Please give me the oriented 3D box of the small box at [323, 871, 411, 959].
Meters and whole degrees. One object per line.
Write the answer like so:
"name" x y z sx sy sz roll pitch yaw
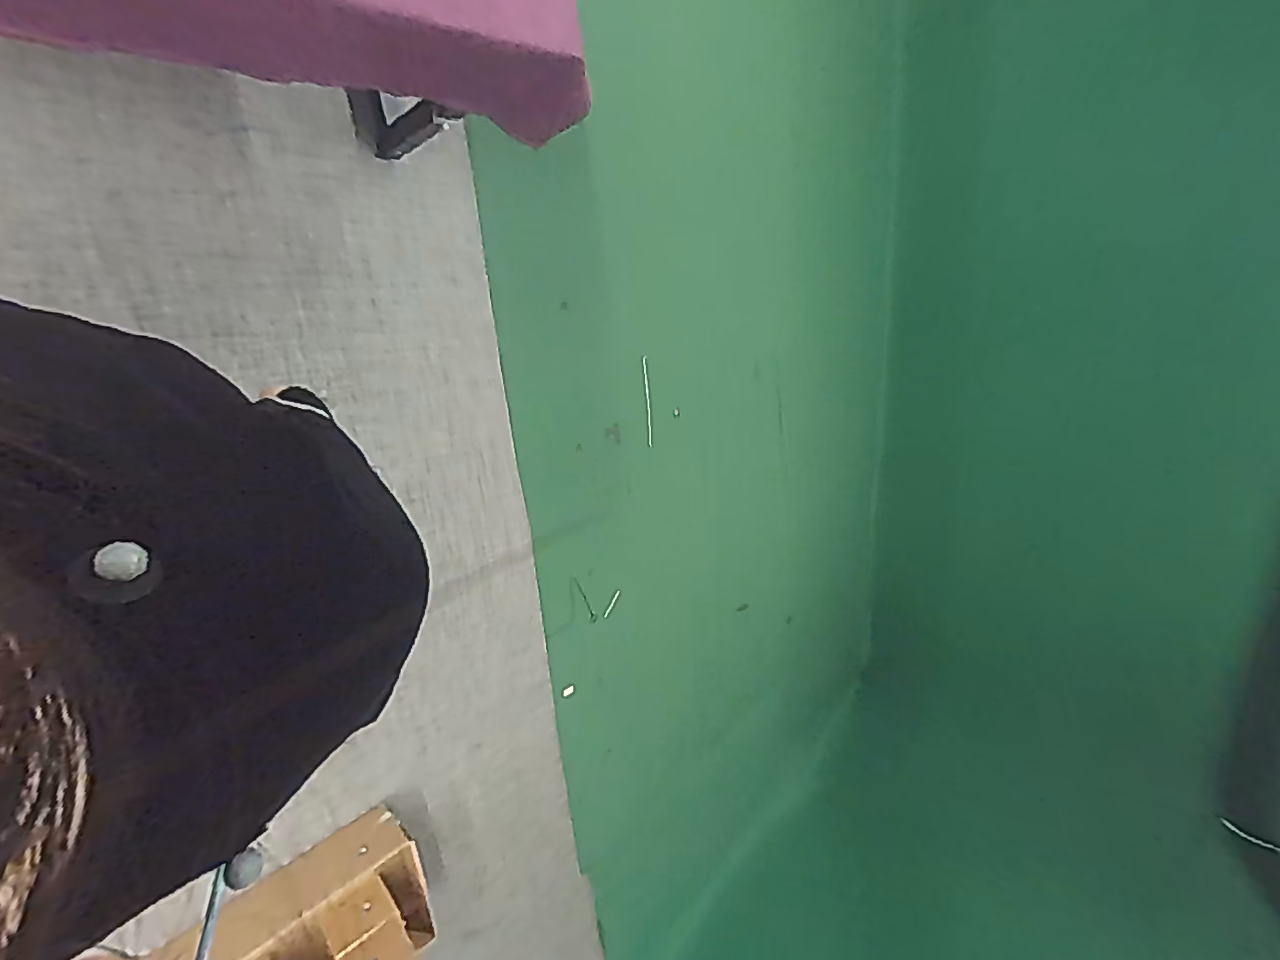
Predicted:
"small box" -0.771 1.255 1.524 0.168 0.176 0.179 -16 110 -42

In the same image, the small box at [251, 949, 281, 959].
"small box" -0.960 1.328 1.340 0.168 0.176 0.179 -21 113 -42
